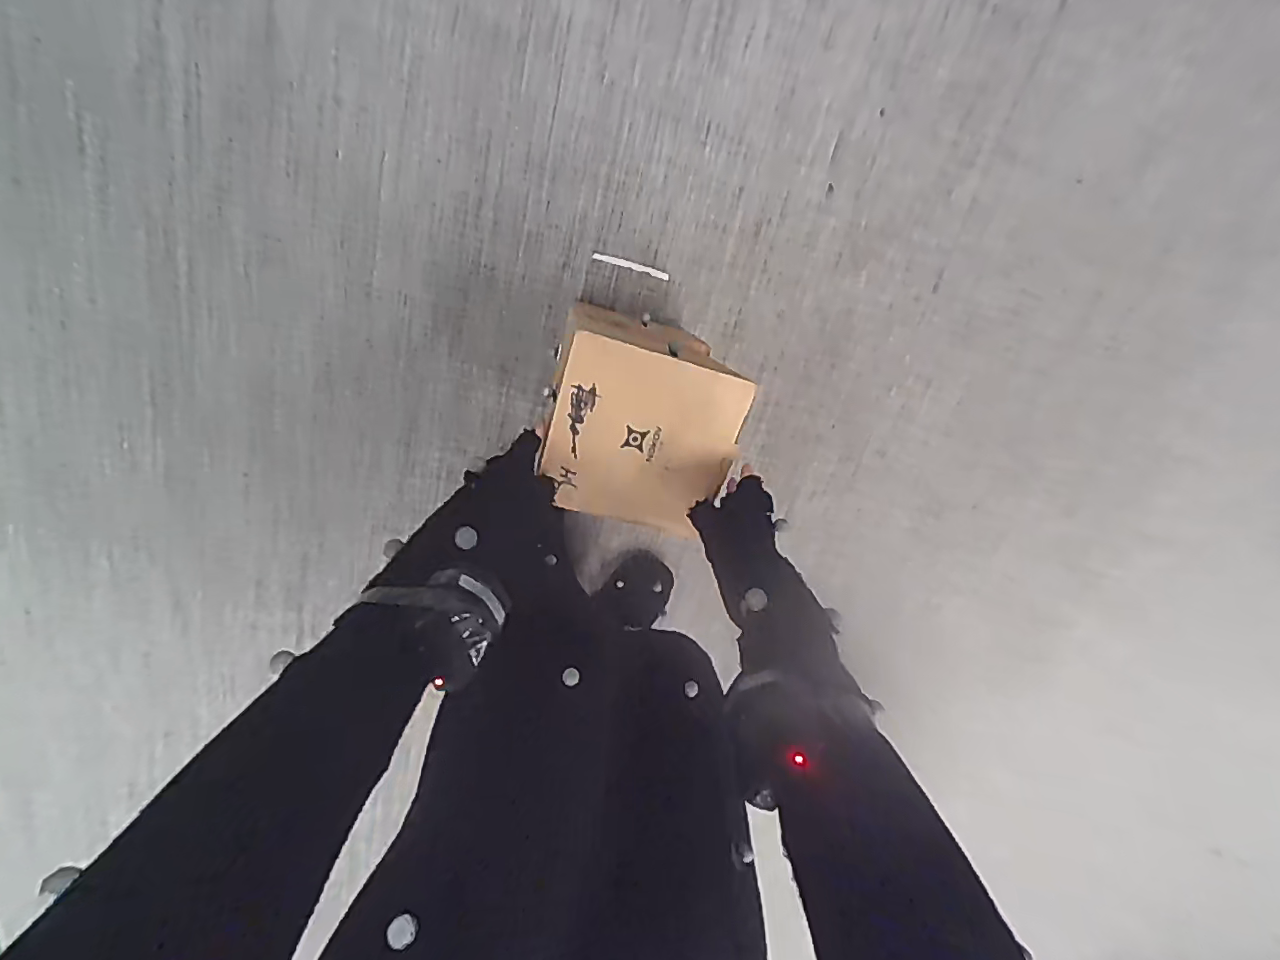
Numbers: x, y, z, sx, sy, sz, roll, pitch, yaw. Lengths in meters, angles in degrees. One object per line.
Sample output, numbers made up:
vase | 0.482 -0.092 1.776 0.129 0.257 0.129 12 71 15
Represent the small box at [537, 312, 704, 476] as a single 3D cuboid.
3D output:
small box | -0.034 -0.123 0.730 0.179 0.176 0.168 11 109 -11
